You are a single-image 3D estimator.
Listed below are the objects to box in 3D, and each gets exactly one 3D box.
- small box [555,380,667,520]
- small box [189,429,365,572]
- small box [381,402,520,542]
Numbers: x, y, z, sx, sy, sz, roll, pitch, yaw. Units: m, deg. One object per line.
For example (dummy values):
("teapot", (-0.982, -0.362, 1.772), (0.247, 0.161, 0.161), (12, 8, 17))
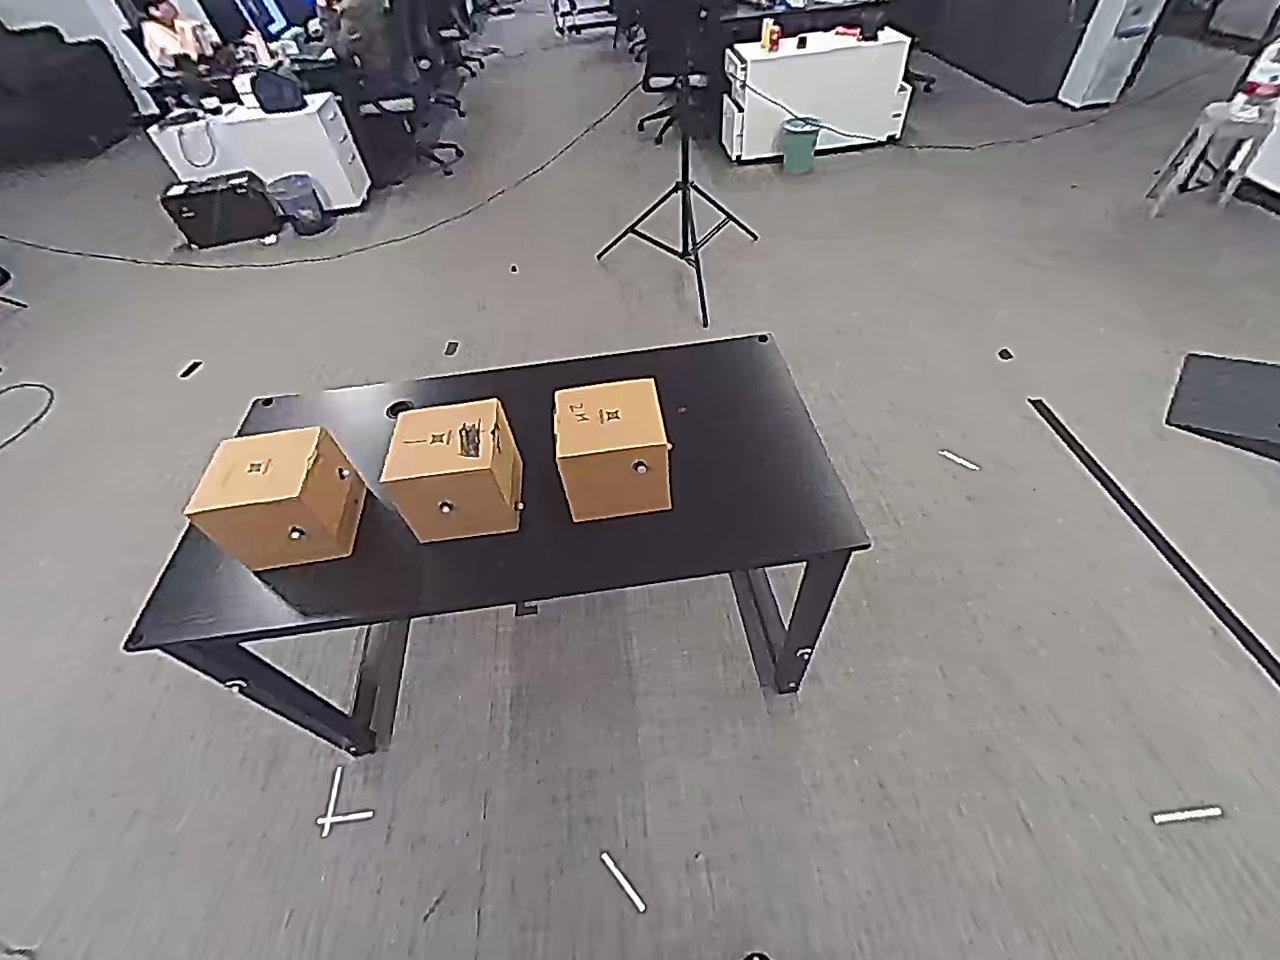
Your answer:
("small box", (-0.047, -0.049, 0.948), (0.179, 0.176, 0.168), (-8, 48, -1))
("small box", (-0.606, 0.038, 0.934), (0.179, 0.176, 0.168), (-10, 48, -2))
("small box", (-0.315, -0.011, 0.944), (0.179, 0.176, 0.168), (-8, 49, 0))
